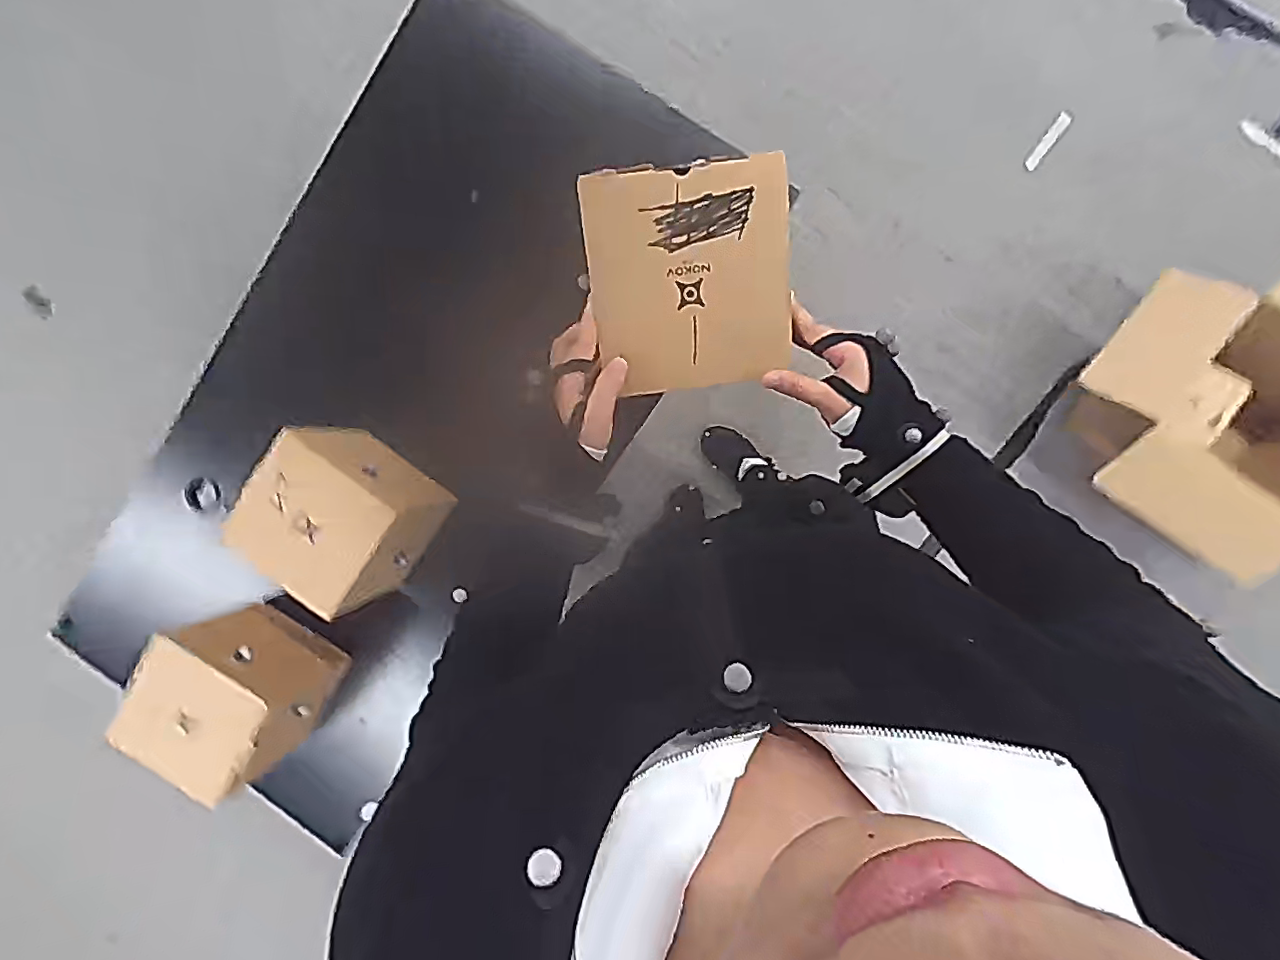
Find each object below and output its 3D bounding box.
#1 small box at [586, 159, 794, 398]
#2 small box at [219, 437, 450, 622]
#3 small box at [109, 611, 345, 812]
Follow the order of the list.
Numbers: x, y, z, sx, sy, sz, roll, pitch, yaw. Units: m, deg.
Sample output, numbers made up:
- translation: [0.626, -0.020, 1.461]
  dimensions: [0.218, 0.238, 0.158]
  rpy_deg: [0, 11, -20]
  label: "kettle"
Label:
- translation: [0.042, -0.183, 0.520]
  dimensions: [0.168, 0.176, 0.179]
  rpy_deg: [-6, 108, 1]
  label: "small box"
- translation: [-0.394, 0.055, 0.730]
  dimensions: [0.179, 0.176, 0.168]
  rpy_deg: [35, 96, 3]
  label: "small box"
- translation: [-0.564, 0.309, 0.764]
  dimensions: [0.179, 0.176, 0.168]
  rpy_deg: [29, 95, 4]
  label: "small box"
